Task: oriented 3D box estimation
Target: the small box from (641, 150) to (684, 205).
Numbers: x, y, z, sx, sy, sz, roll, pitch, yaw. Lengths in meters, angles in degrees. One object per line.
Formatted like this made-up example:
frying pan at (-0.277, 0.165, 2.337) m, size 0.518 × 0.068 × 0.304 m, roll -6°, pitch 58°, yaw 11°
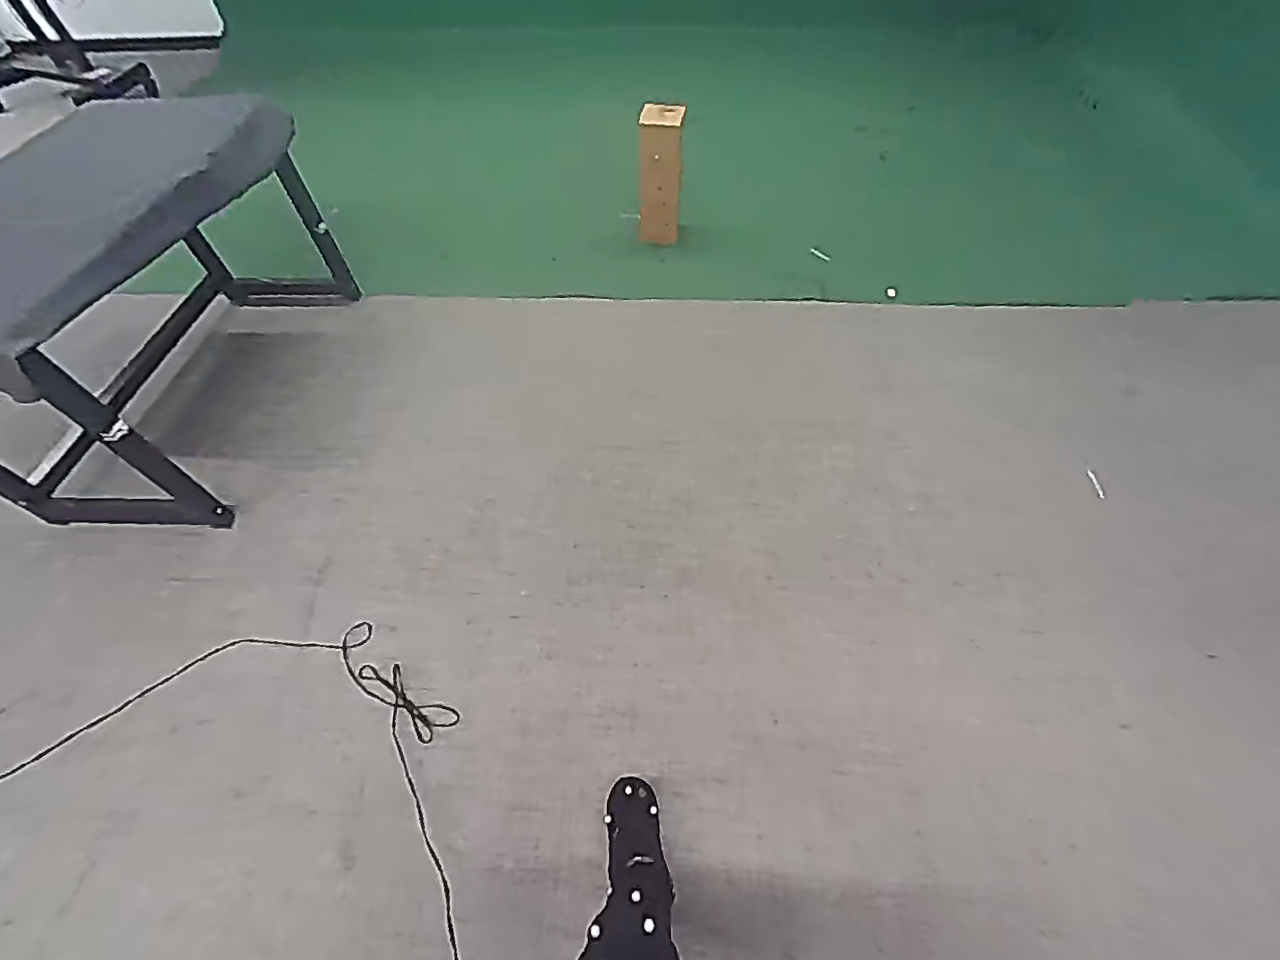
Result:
small box at (0.098, -1.311, 2.343) m, size 0.168 × 0.176 × 0.179 m, roll 7°, pitch 56°, yaw 5°

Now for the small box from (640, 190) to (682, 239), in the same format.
small box at (0.096, -1.220, 2.455) m, size 0.168 × 0.176 × 0.179 m, roll 9°, pitch 55°, yaw 5°

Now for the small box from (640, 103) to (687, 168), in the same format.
small box at (0.094, -1.406, 2.208) m, size 0.168 × 0.176 × 0.179 m, roll 7°, pitch 56°, yaw 6°
